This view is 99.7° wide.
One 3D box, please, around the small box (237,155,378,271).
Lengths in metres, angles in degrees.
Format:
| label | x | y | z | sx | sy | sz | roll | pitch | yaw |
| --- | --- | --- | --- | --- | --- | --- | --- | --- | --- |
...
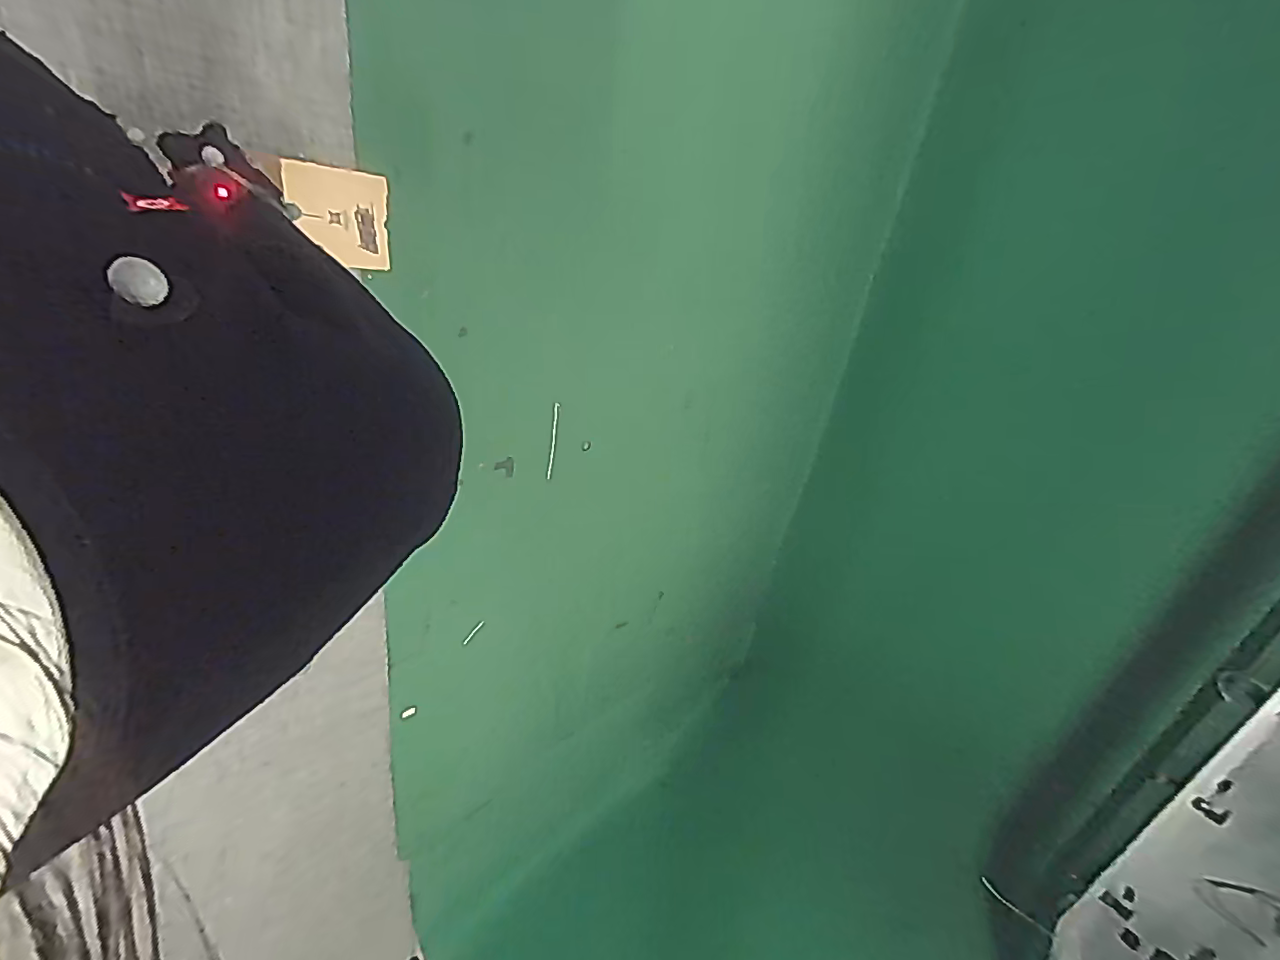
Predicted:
| label | x | y | z | sx | sy | sz | roll | pitch | yaw |
| --- | --- | --- | --- | --- | --- | --- | --- | --- | --- |
| small box | -0.613 | -0.494 | 1.005 | 0.179 | 0.176 | 0.168 | -17 | 125 | -45 |

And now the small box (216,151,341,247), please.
| label | x | y | z | sx | sy | sz | roll | pitch | yaw |
| --- | --- | --- | --- | --- | --- | --- | --- | --- | --- |
| small box | -0.725 | -0.564 | 1.104 | 0.179 | 0.176 | 0.168 | -19 | 127 | -43 |
